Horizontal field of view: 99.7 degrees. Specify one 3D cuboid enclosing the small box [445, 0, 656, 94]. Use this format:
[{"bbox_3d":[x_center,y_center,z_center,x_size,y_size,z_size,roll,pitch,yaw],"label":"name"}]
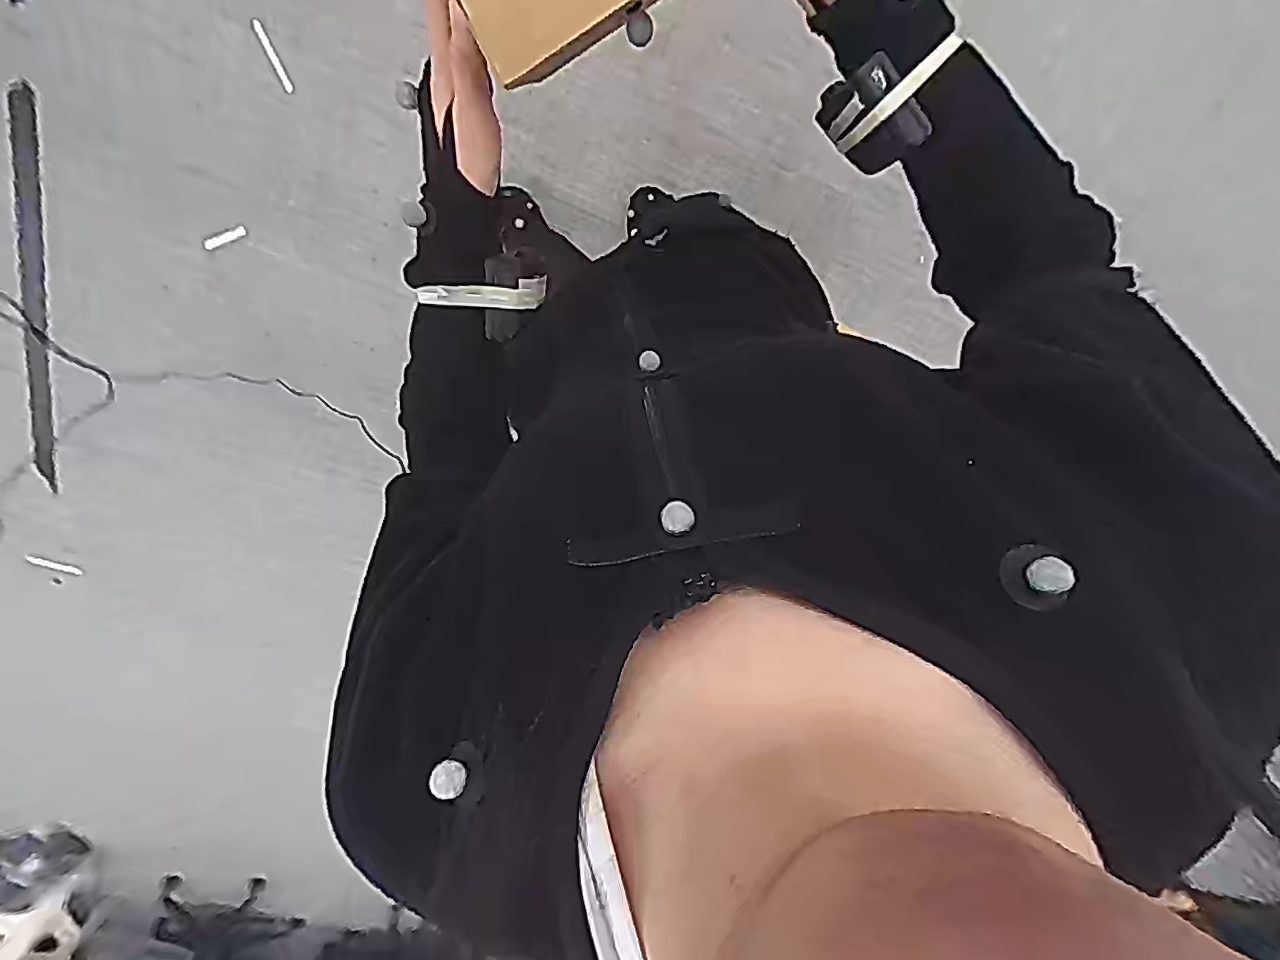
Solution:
[{"bbox_3d":[-0.042,-0.347,0.287,0.179,0.176,0.168,-24,126,16],"label":"small box"}]
